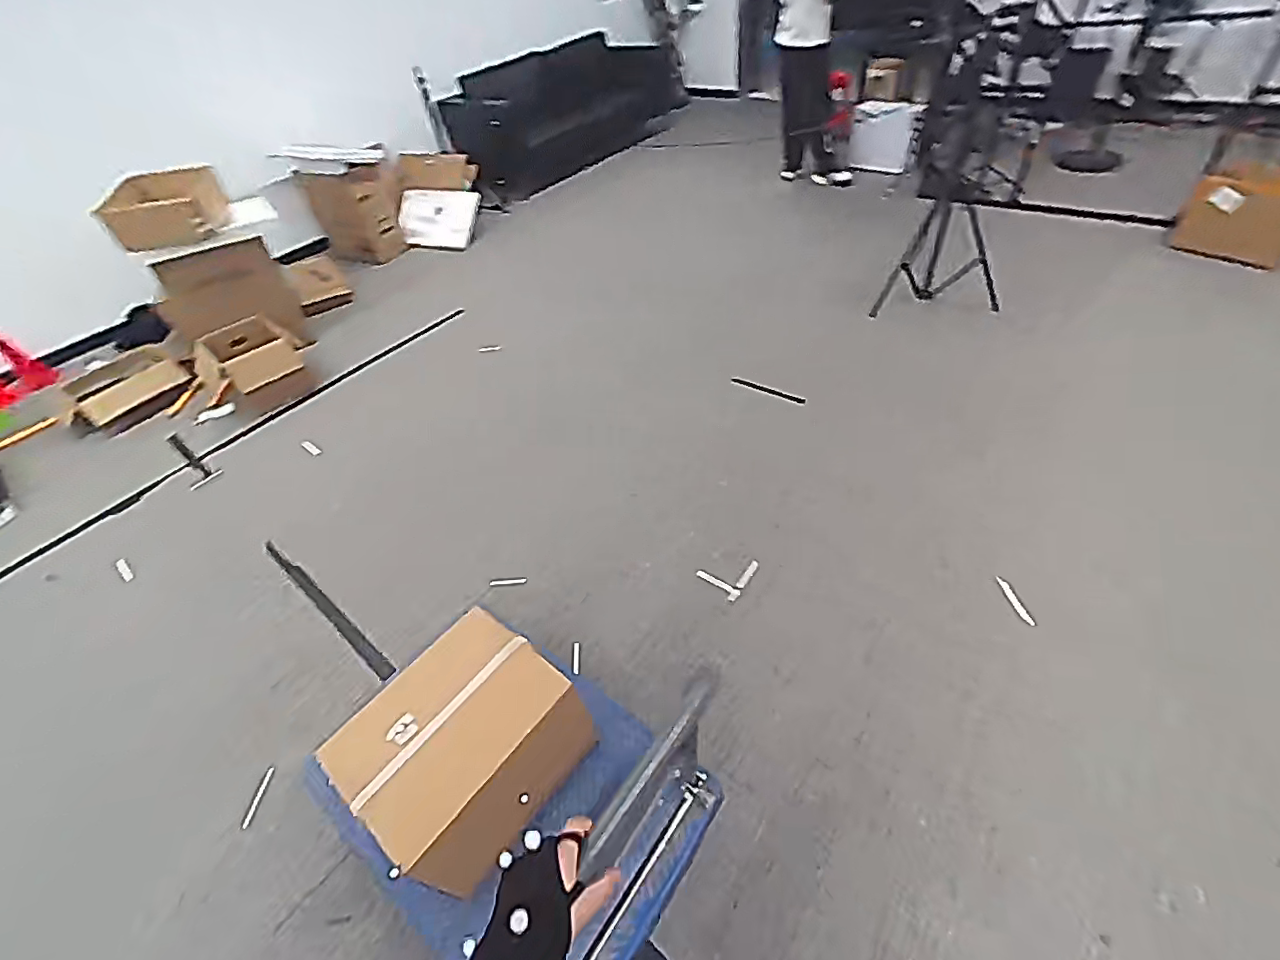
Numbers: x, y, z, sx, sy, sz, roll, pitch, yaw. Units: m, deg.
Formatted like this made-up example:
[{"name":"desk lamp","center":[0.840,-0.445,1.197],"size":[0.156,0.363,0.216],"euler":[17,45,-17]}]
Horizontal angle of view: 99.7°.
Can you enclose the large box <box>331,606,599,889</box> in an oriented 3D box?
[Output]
[{"name":"large box","center":[-0.347,0.567,1.178],"size":[0.320,0.320,0.408],"euler":[27,56,31]}]
